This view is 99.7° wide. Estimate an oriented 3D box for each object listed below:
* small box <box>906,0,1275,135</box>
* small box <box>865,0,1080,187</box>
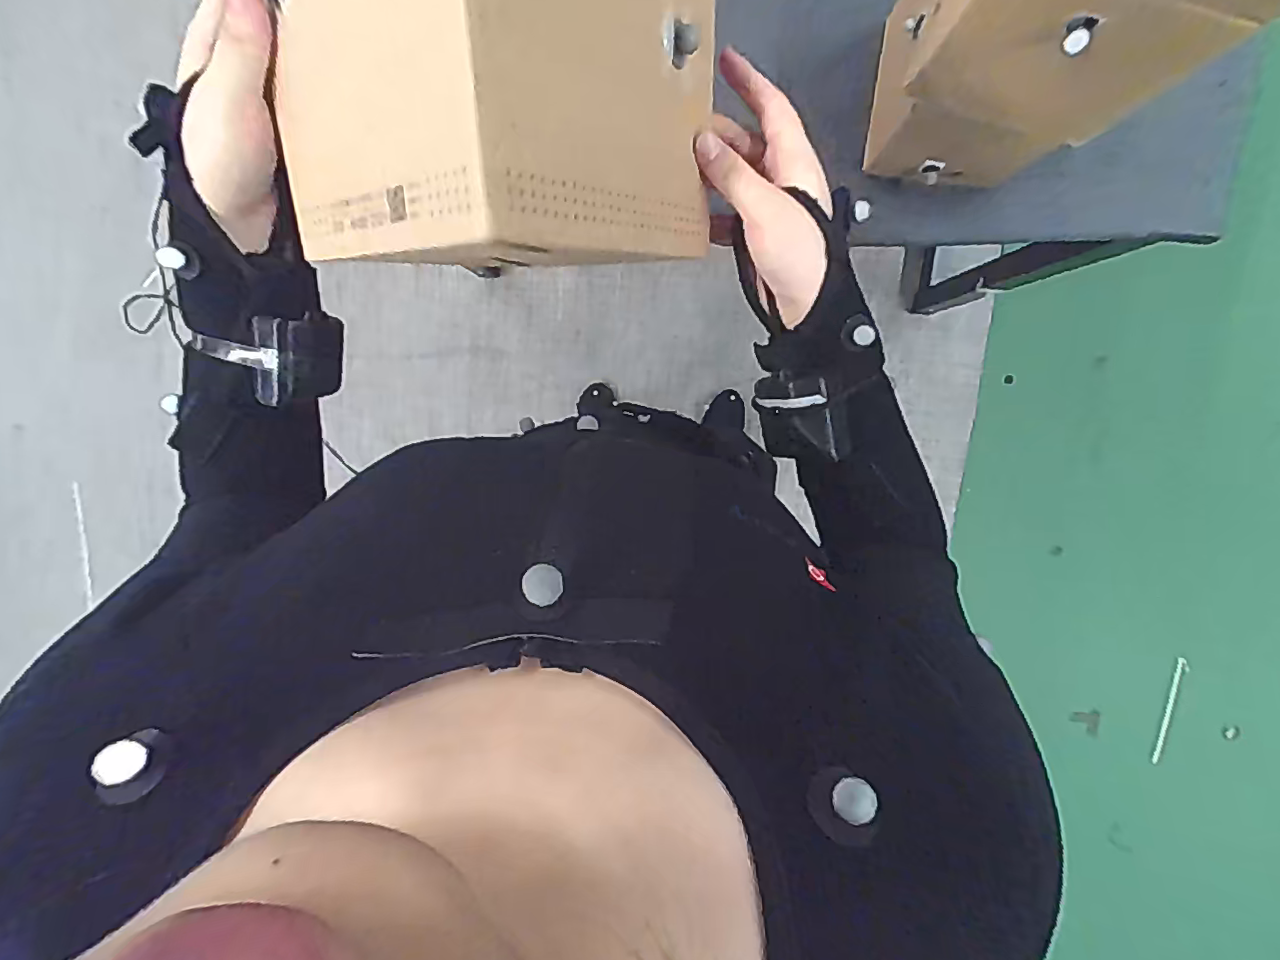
[{"bbox_3d":[0.344,-0.400,0.411,0.179,0.176,0.168,18,99,2],"label":"small box"},{"bbox_3d":[0.356,-0.439,0.569,0.168,0.176,0.179,7,100,4],"label":"small box"}]
